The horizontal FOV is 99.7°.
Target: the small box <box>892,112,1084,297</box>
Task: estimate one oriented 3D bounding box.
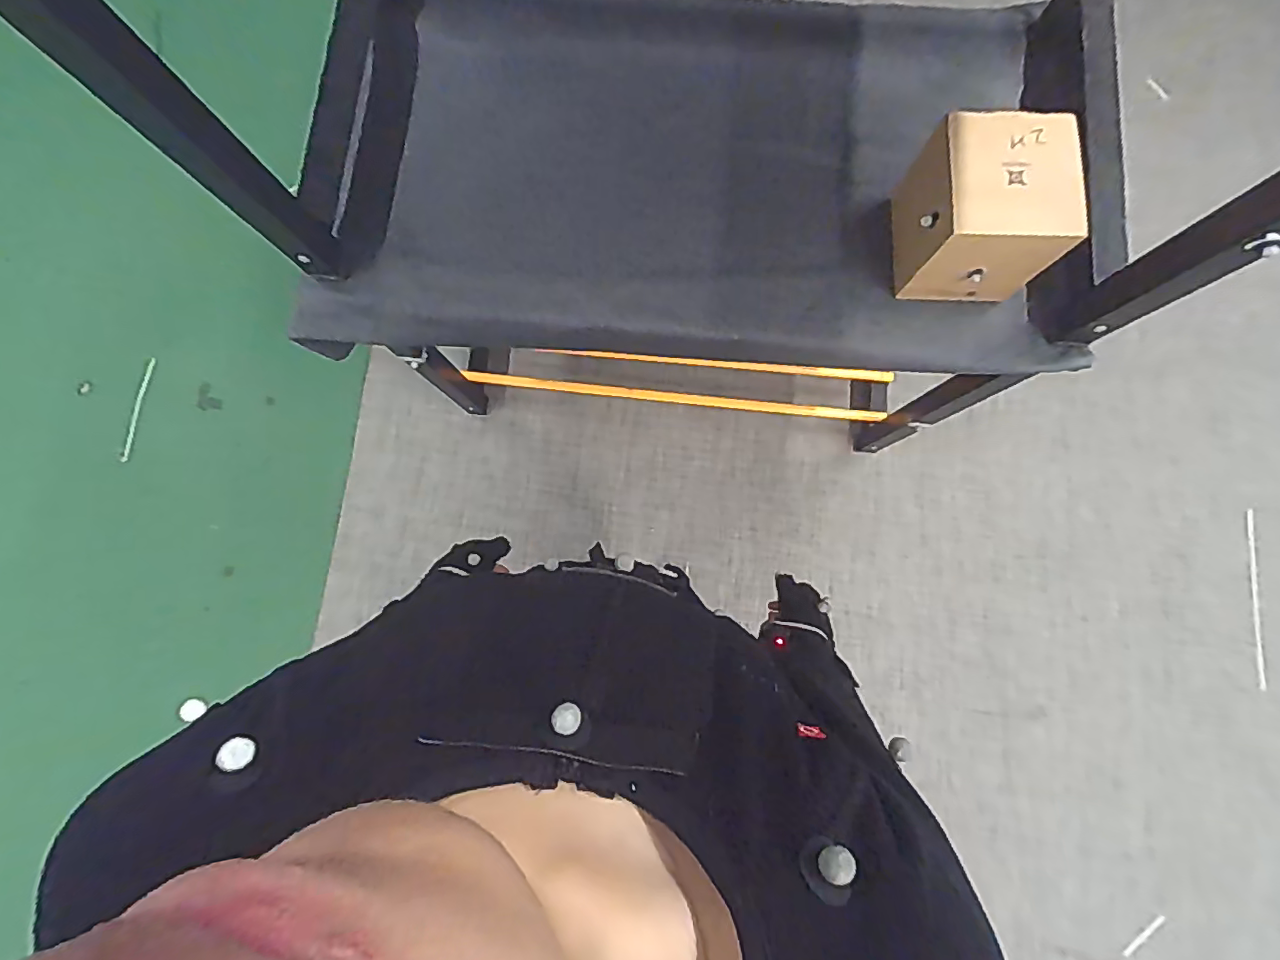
[{"bbox_3d":[0.475,-0.376,0.763,0.168,0.176,0.179,2,81,1],"label":"small box"}]
